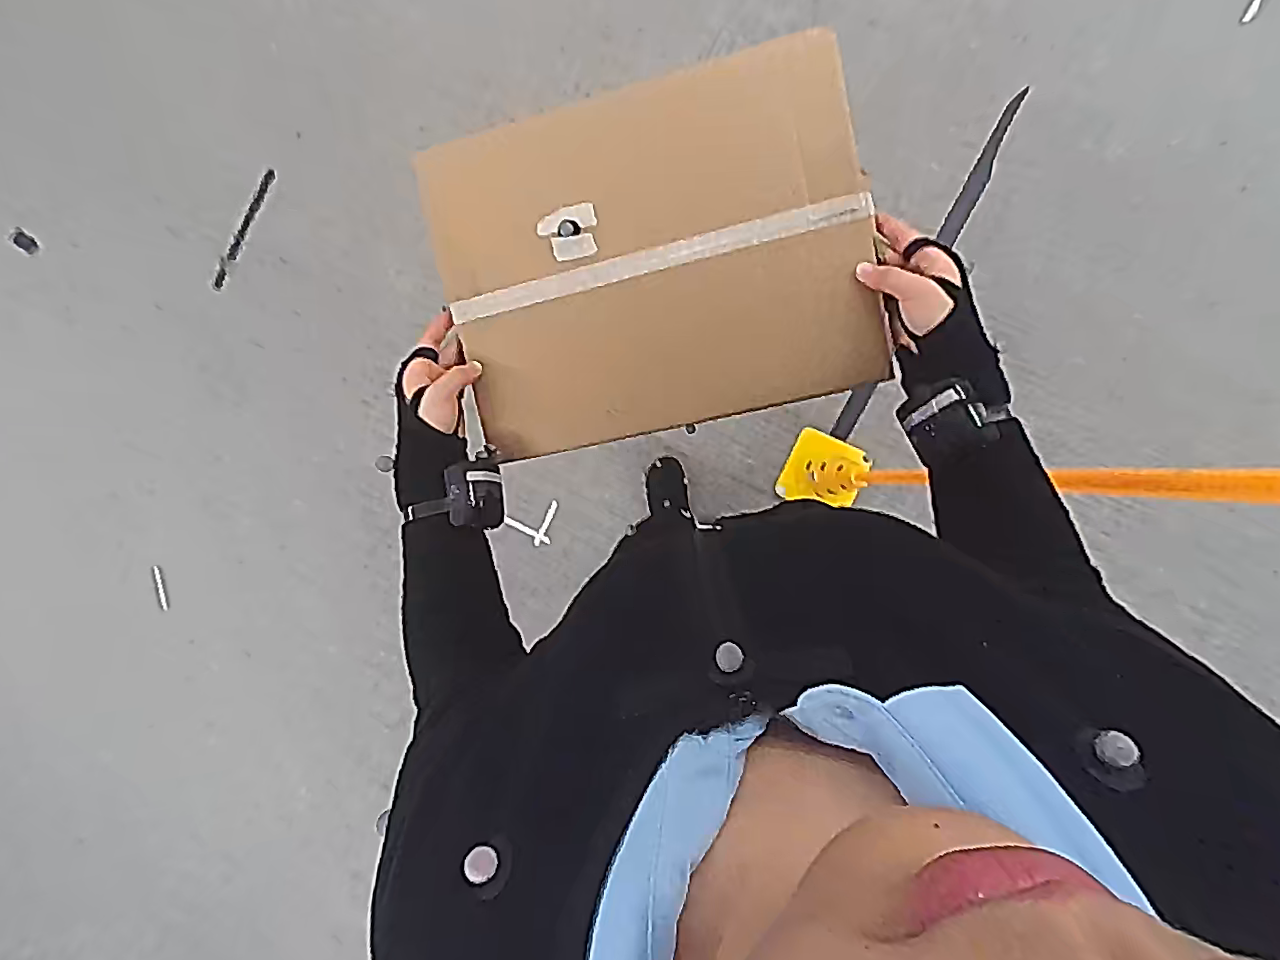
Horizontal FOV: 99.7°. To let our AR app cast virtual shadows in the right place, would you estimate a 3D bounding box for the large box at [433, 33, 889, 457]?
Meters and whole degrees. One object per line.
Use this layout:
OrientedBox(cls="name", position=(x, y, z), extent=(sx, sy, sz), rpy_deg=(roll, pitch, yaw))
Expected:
OrientedBox(cls="large box", position=(0.034, -0.233, 0.673), extent=(0.408, 0.320, 0.320), rpy_deg=(-11, 95, 9))
